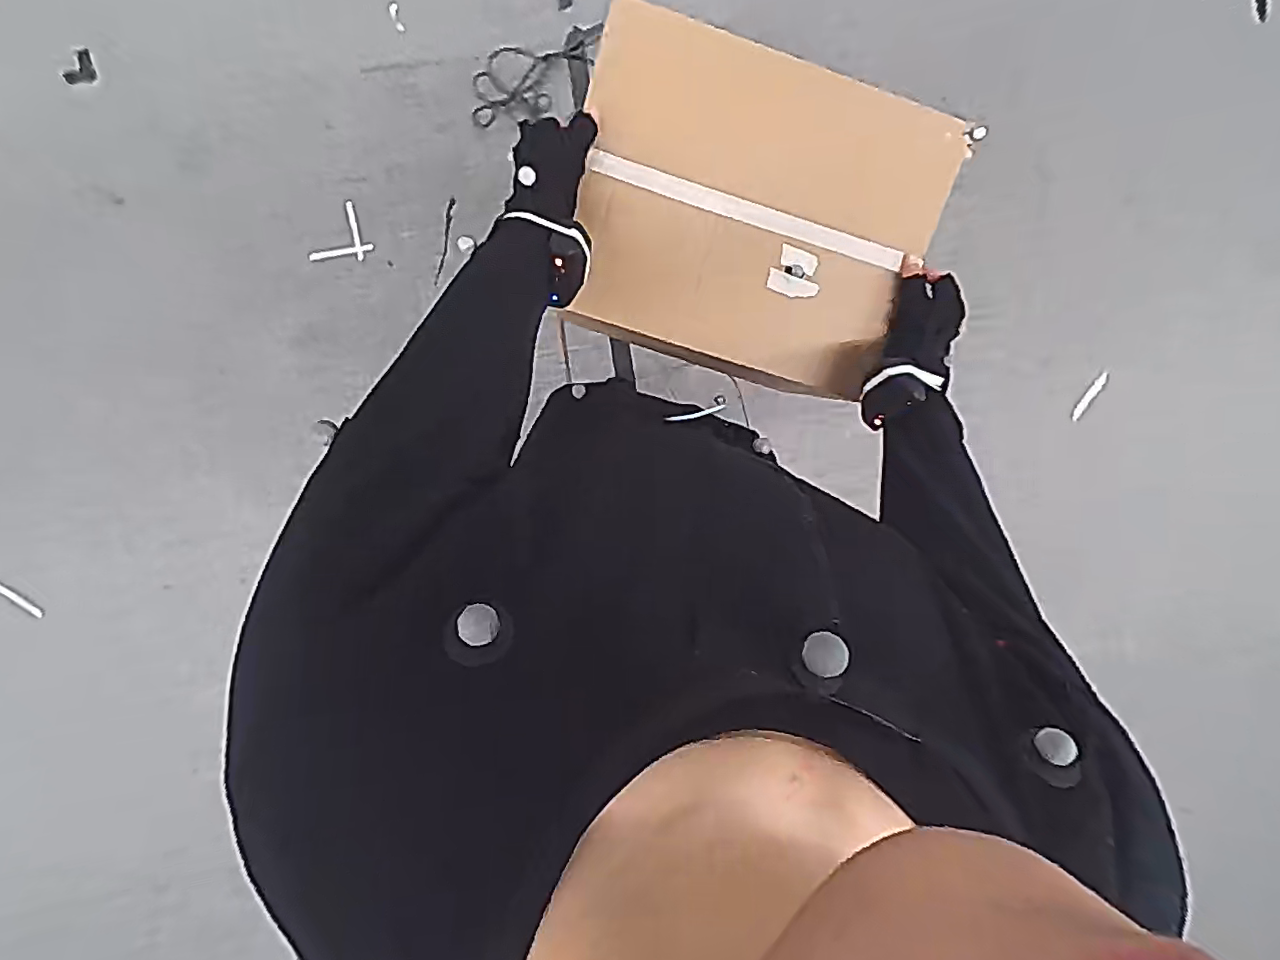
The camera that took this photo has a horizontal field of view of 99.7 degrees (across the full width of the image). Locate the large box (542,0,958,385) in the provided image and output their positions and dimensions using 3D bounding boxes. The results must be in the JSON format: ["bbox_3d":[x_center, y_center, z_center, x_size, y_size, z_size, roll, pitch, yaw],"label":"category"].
[{"bbox_3d":[0.110,-0.338,0.744,0.408,0.320,0.320,16,102,-6],"label":"large box"}]
